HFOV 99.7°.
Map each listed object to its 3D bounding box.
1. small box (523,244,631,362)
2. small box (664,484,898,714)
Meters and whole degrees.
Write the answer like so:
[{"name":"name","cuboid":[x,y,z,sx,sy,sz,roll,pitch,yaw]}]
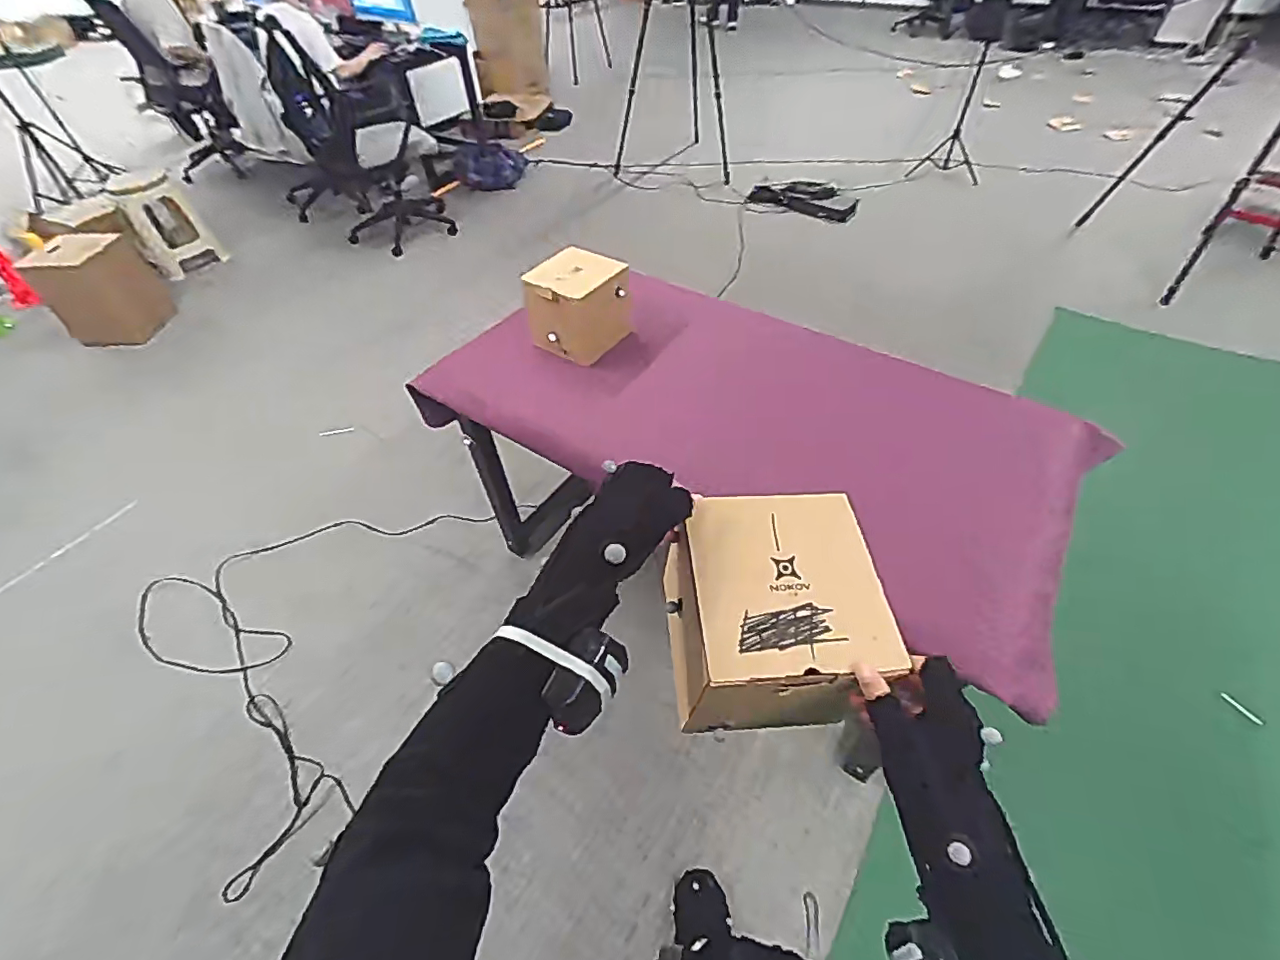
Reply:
[{"name":"small box","cuboid":[-0.134,-0.397,1.217,0.168,0.176,0.179,27,56,24]},{"name":"small box","cuboid":[0.118,0.124,0.539,0.168,0.176,0.179,-2,52,-5]}]
